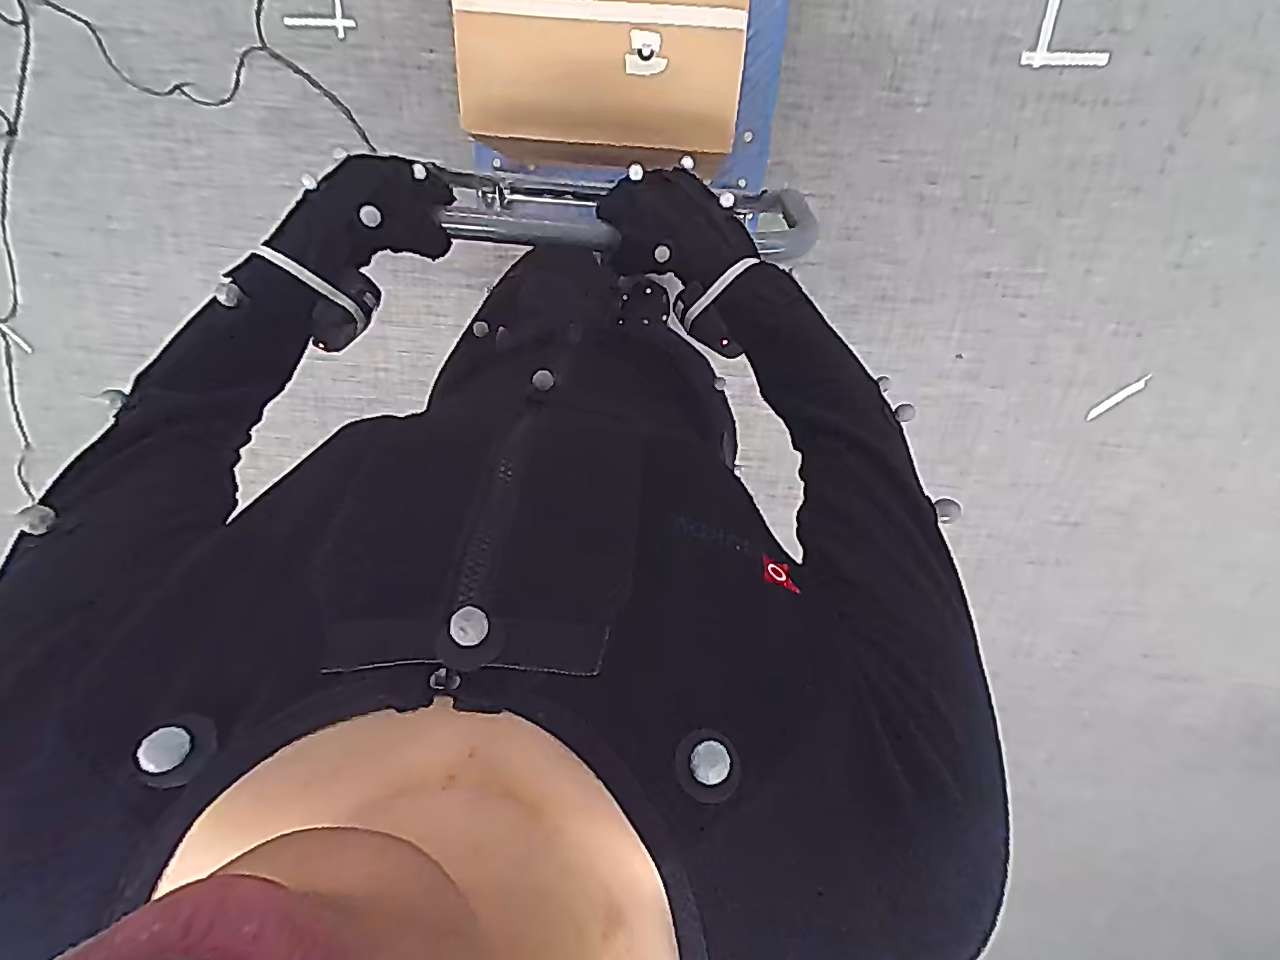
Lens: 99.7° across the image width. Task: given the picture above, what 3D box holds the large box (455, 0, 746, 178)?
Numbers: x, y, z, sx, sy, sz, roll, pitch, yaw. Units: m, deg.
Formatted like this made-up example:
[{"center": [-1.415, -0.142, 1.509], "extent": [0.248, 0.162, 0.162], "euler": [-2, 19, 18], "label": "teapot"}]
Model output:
[{"center": [-0.054, -0.691, 0.874], "extent": [0.408, 0.320, 0.320], "euler": [4, 114, 0], "label": "large box"}]
